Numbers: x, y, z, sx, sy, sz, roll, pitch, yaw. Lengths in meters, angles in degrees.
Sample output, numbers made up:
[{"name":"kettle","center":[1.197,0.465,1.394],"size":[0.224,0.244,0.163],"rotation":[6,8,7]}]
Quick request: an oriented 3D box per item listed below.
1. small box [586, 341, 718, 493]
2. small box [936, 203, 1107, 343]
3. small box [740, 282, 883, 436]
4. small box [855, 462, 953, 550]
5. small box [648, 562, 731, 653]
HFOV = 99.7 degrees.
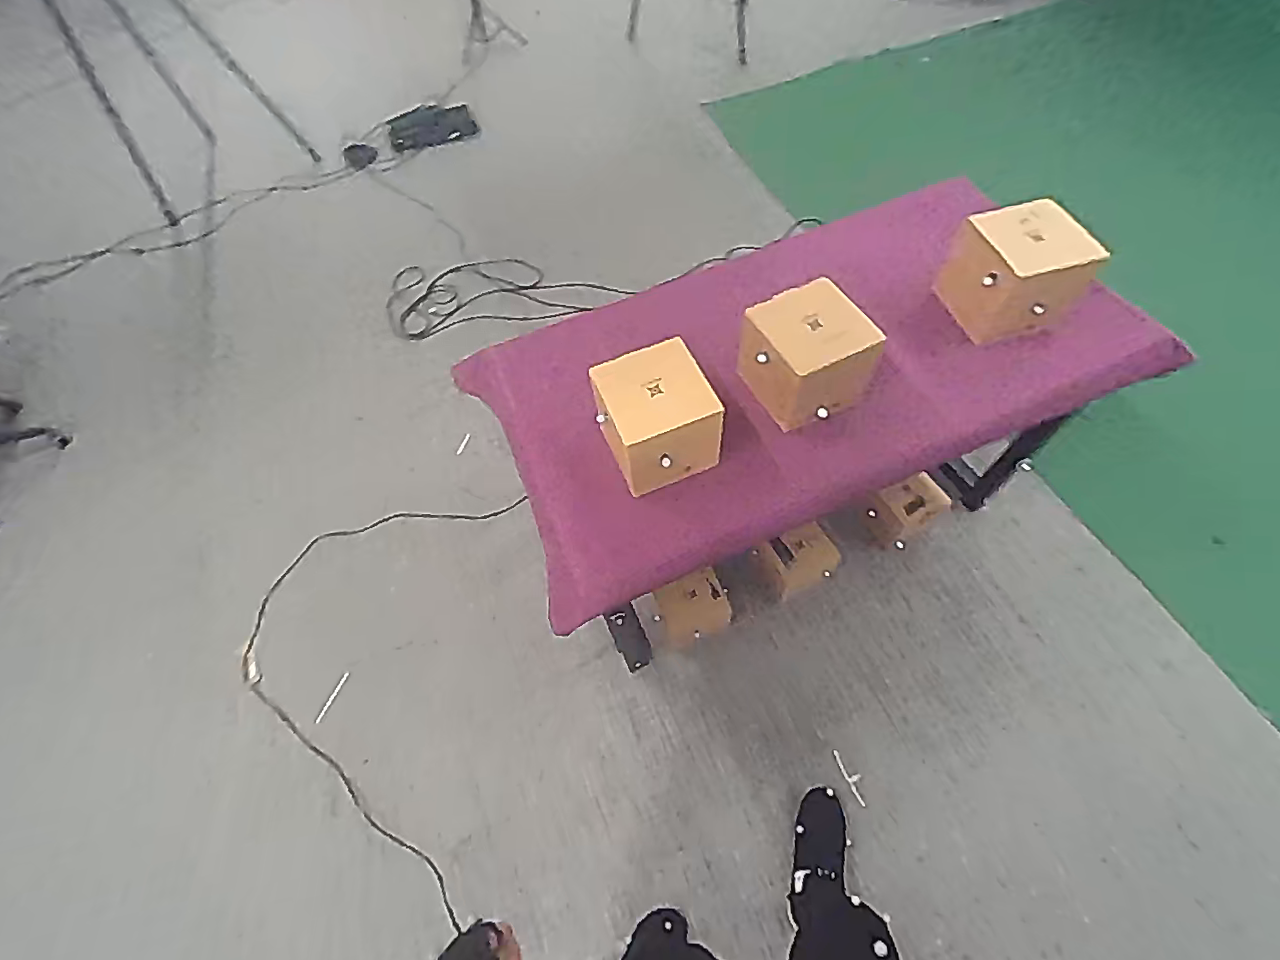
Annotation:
[{"name":"small box","center":[0.024,-0.098,0.924],"size":[0.168,0.176,0.179],"rotation":[-21,59,-7]},{"name":"small box","center":[0.701,-0.380,1.018],"size":[0.168,0.176,0.179],"rotation":[-13,59,-2]},{"name":"small box","center":[0.290,-0.212,0.965],"size":[0.168,0.176,0.179],"rotation":[-24,60,-7]},{"name":"small box","center":[0.763,0.086,1.583],"size":[0.168,0.176,0.179],"rotation":[-24,59,-9]},{"name":"small box","center":[0.137,0.356,1.489],"size":[0.179,0.176,0.168],"rotation":[-19,59,-6]}]
